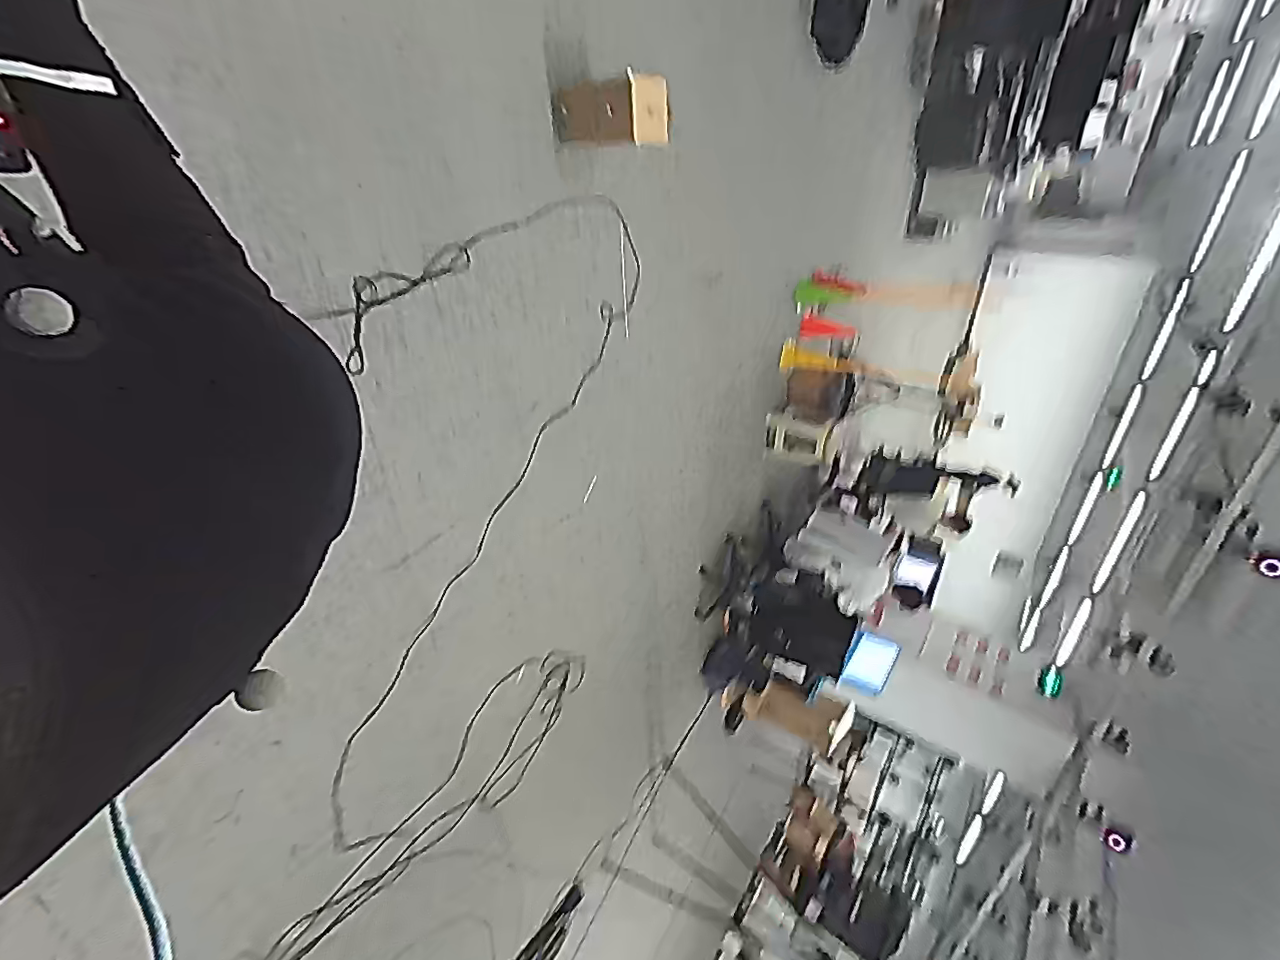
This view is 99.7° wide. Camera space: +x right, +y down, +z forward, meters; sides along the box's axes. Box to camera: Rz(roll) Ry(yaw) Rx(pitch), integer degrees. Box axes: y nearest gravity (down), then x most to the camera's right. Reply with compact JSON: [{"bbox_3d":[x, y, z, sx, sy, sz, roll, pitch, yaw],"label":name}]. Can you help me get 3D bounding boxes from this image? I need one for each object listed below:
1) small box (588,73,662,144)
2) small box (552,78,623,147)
[{"bbox_3d":[-0.049,-1.148,1.682,0.179,0.176,0.168,-34,133,-43],"label":"small box"},{"bbox_3d":[-0.168,-1.204,1.783,0.179,0.176,0.168,-31,130,-45],"label":"small box"}]
